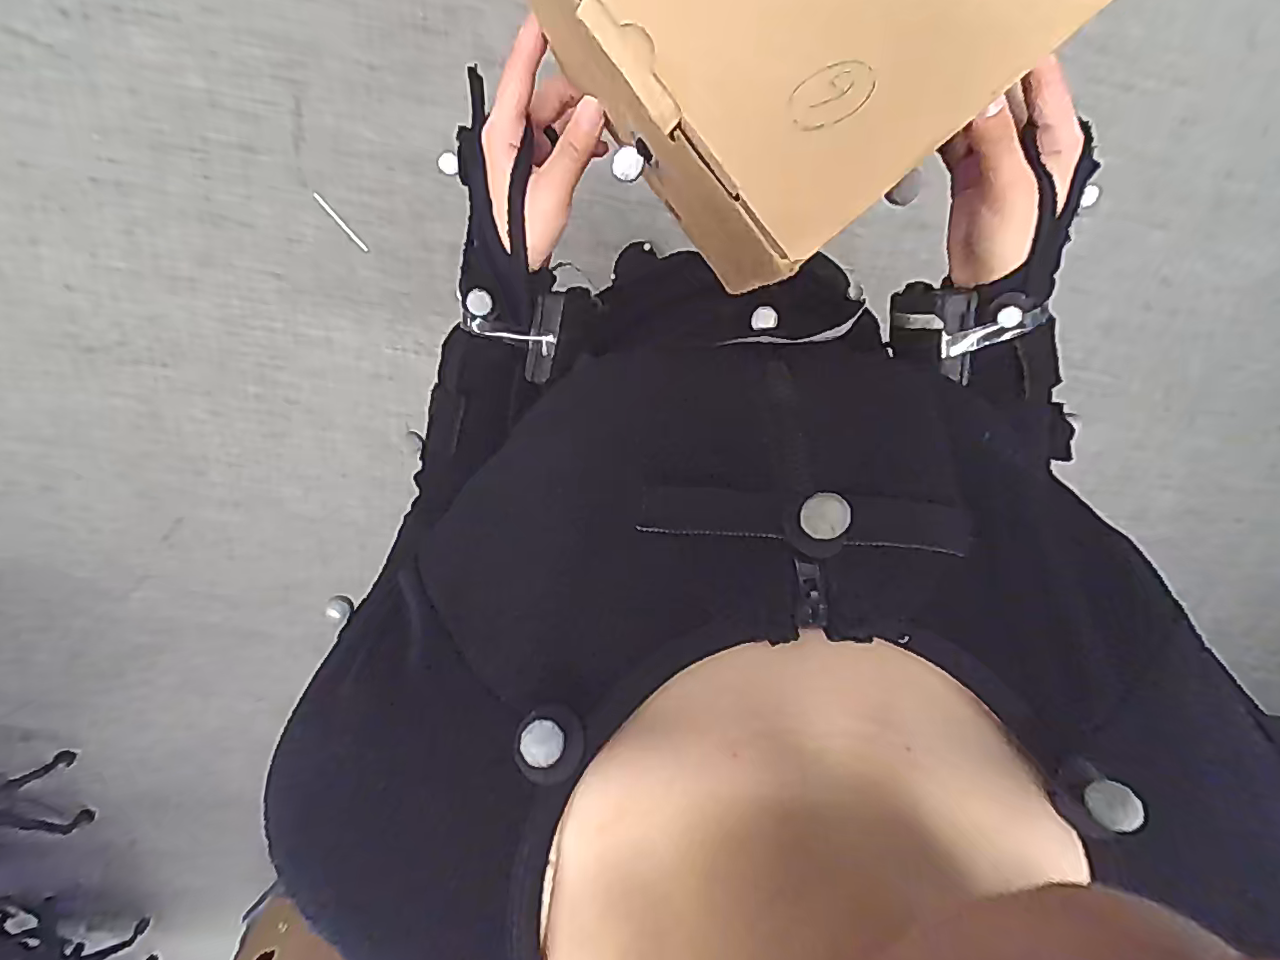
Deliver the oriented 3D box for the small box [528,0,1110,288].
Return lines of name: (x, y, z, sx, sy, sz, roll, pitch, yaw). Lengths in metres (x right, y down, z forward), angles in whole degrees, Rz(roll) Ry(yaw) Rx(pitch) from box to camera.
small box: (0.064, -0.201, 0.227, 0.179, 0.176, 0.168, -38, 100, 14)
